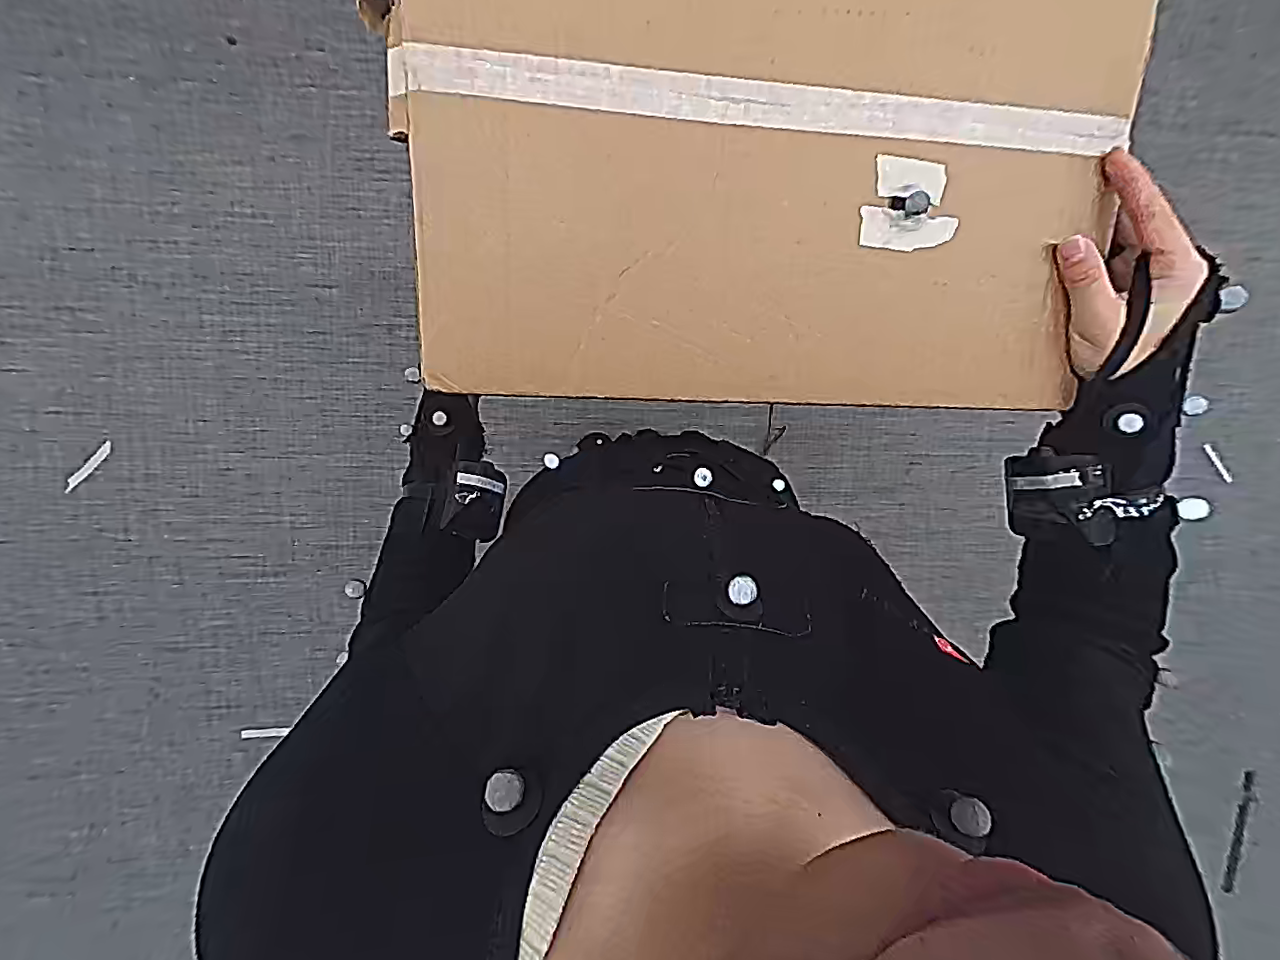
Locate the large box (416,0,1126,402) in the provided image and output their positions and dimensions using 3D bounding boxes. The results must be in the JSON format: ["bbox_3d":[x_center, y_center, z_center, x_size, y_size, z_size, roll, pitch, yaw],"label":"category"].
[{"bbox_3d":[0.060,-0.232,0.447,0.408,0.320,0.320,0,103,-9],"label":"large box"}]
